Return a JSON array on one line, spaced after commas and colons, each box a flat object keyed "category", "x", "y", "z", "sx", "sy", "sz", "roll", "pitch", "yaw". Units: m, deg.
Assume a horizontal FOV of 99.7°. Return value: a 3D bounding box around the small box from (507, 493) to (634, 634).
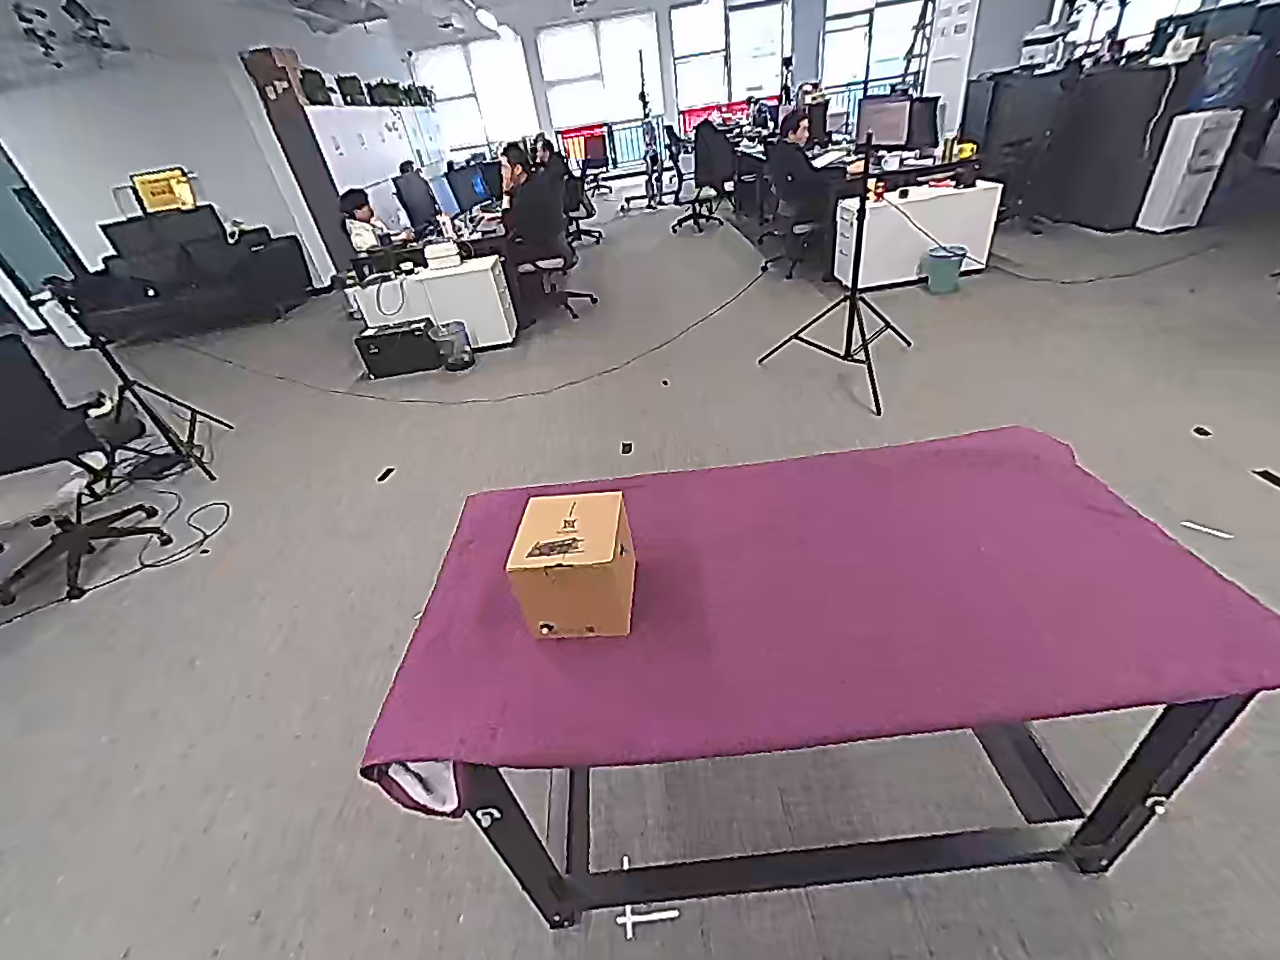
[{"category": "small box", "x": -0.105, "y": 0.145, "z": 0.913, "sx": 0.168, "sy": 0.176, "sz": 0.179, "roll": -4, "pitch": 35, "yaw": 7}]
